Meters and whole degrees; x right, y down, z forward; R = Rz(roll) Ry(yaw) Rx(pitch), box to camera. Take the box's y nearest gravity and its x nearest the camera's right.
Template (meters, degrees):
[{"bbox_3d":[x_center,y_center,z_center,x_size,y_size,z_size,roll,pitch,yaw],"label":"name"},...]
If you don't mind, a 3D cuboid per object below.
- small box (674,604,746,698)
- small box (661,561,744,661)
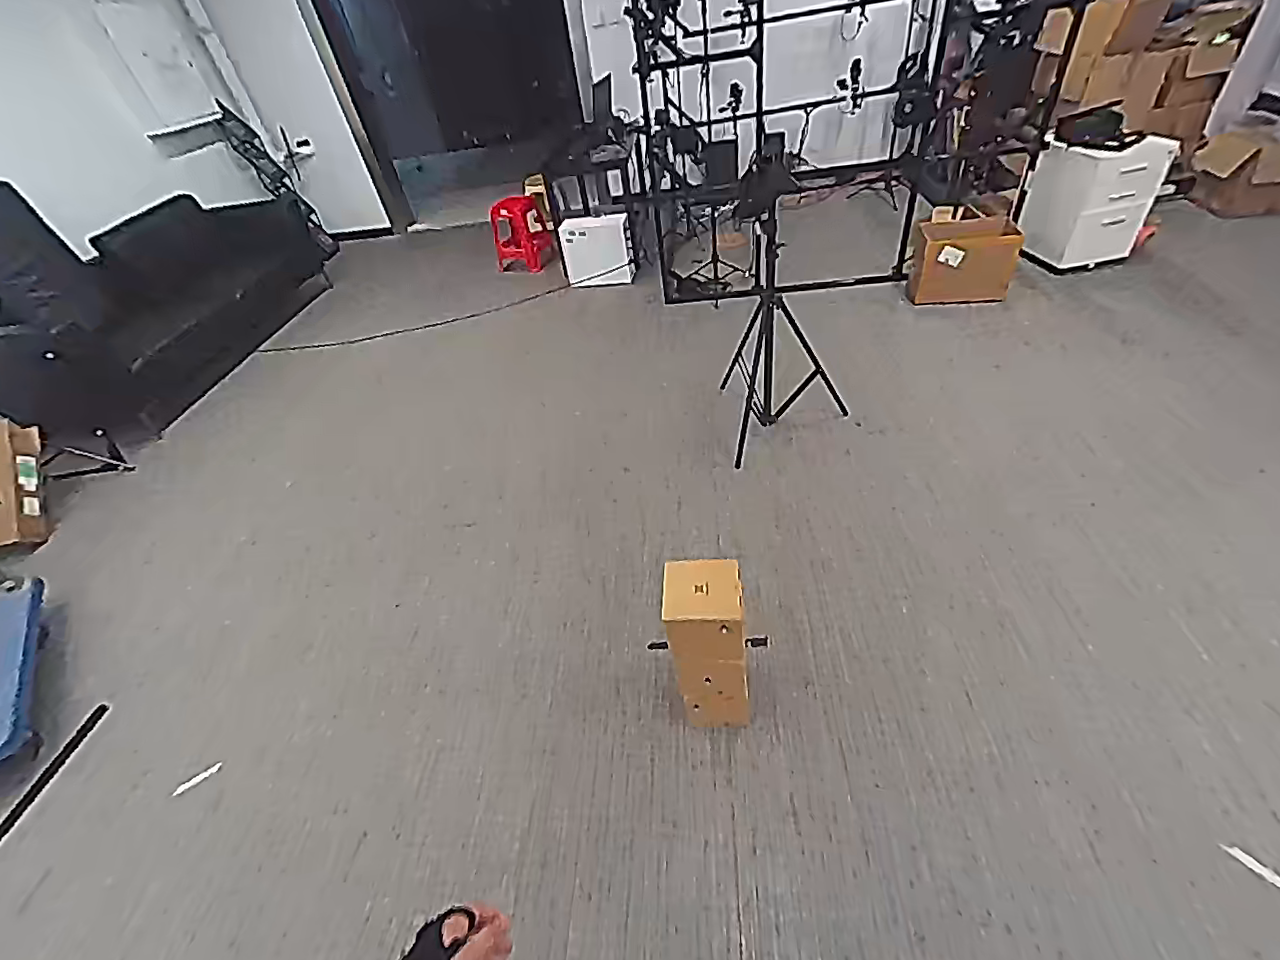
[{"bbox_3d":[0.183,0.431,1.370,0.168,0.176,0.179,0,41,11],"label":"small box"},{"bbox_3d":[0.149,0.309,1.267,0.179,0.176,0.168,-3,41,9],"label":"small box"}]
